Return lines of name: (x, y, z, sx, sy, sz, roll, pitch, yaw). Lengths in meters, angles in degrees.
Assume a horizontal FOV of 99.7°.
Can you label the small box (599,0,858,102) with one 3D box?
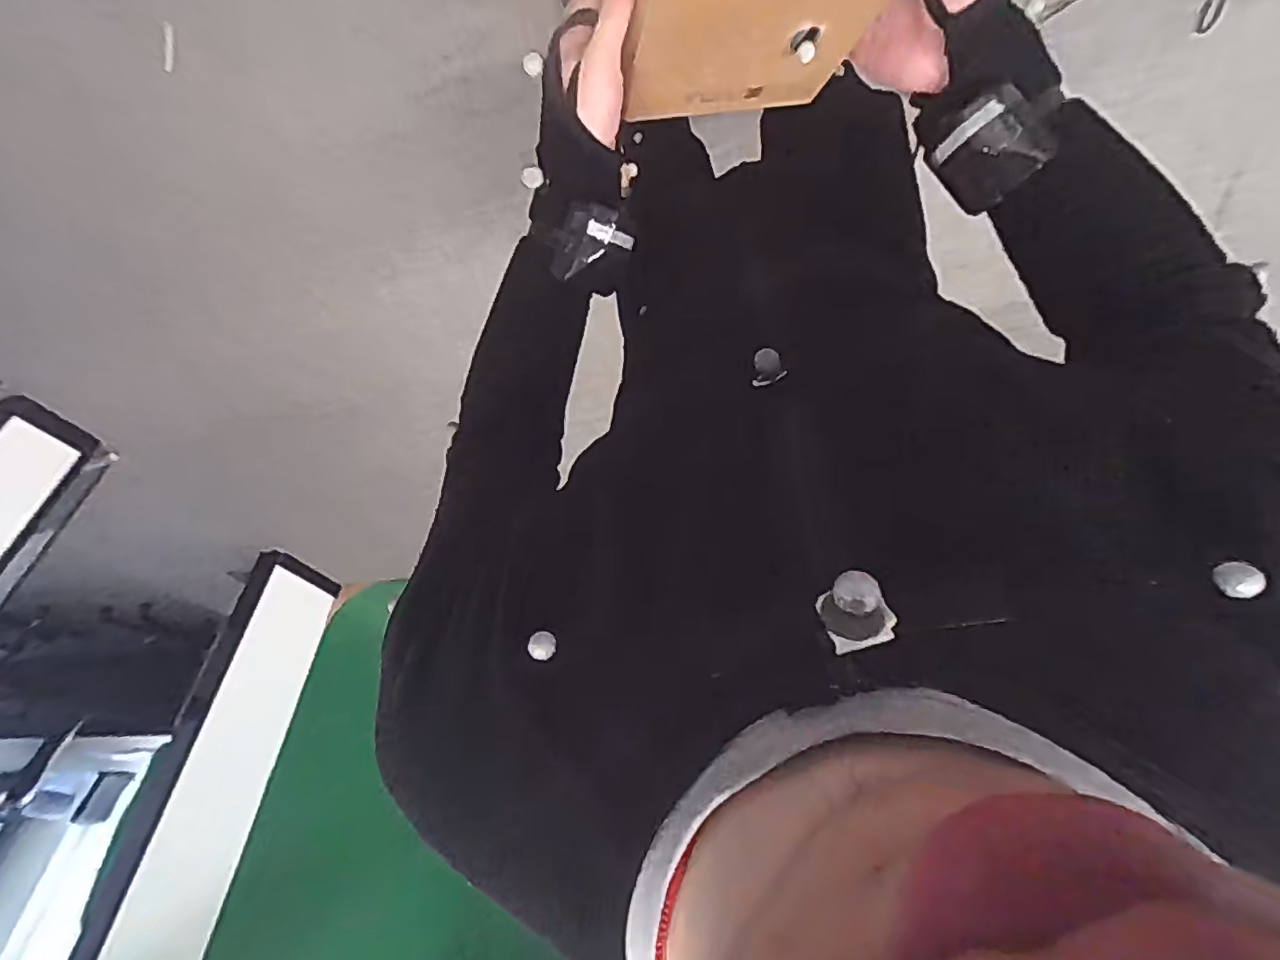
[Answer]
small box: (0.059, -0.389, 0.365, 0.168, 0.179, 0.176, -11, -173, -7)
